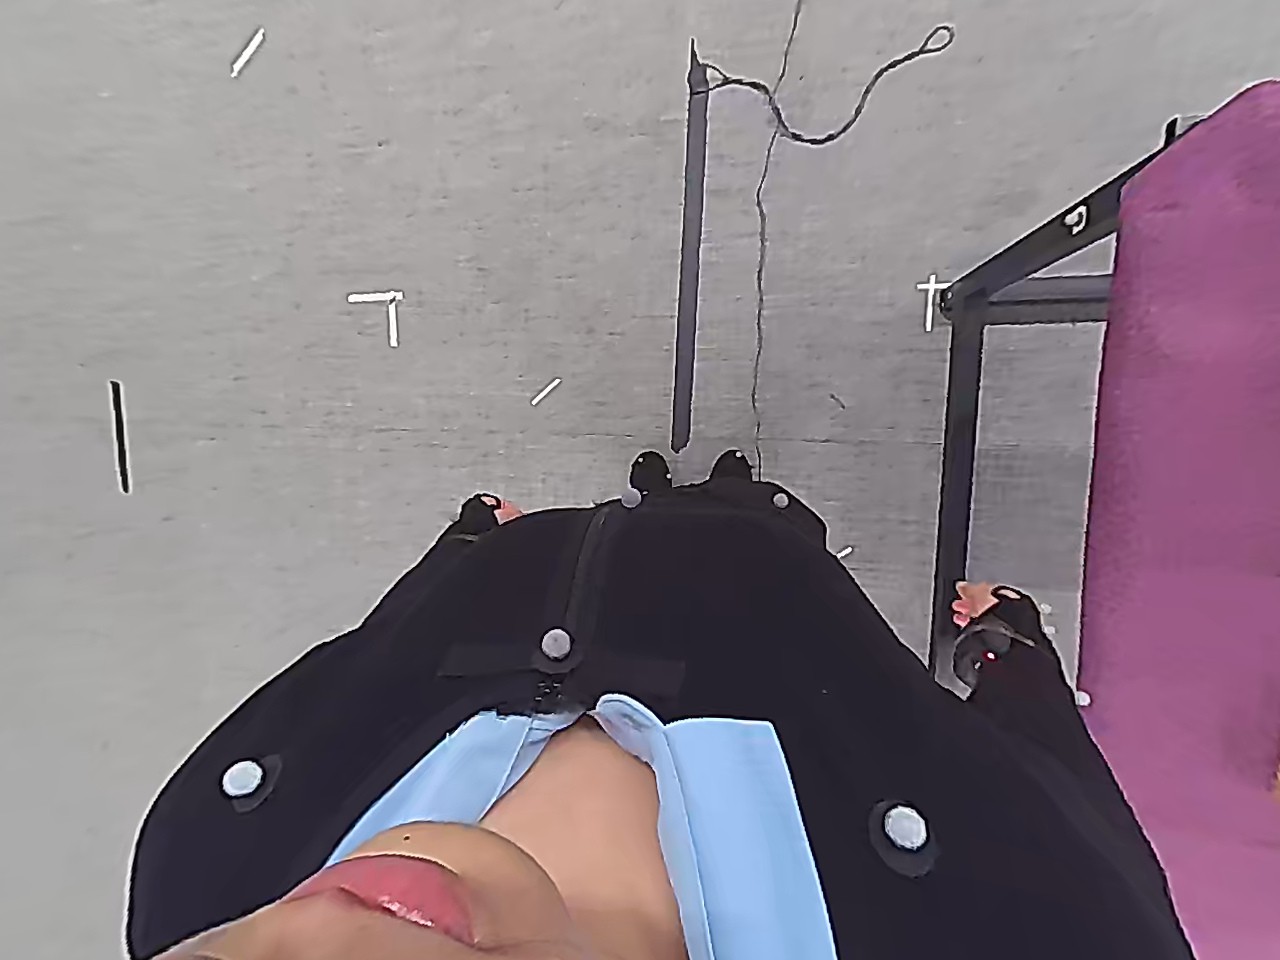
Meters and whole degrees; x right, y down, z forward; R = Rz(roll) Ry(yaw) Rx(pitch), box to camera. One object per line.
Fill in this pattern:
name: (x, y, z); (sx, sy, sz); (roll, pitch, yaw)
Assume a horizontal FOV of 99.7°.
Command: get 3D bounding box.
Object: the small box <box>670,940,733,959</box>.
small box: (0.167, 1.414, 1.483); (0.179, 0.176, 0.168); (-4, 96, 10)
